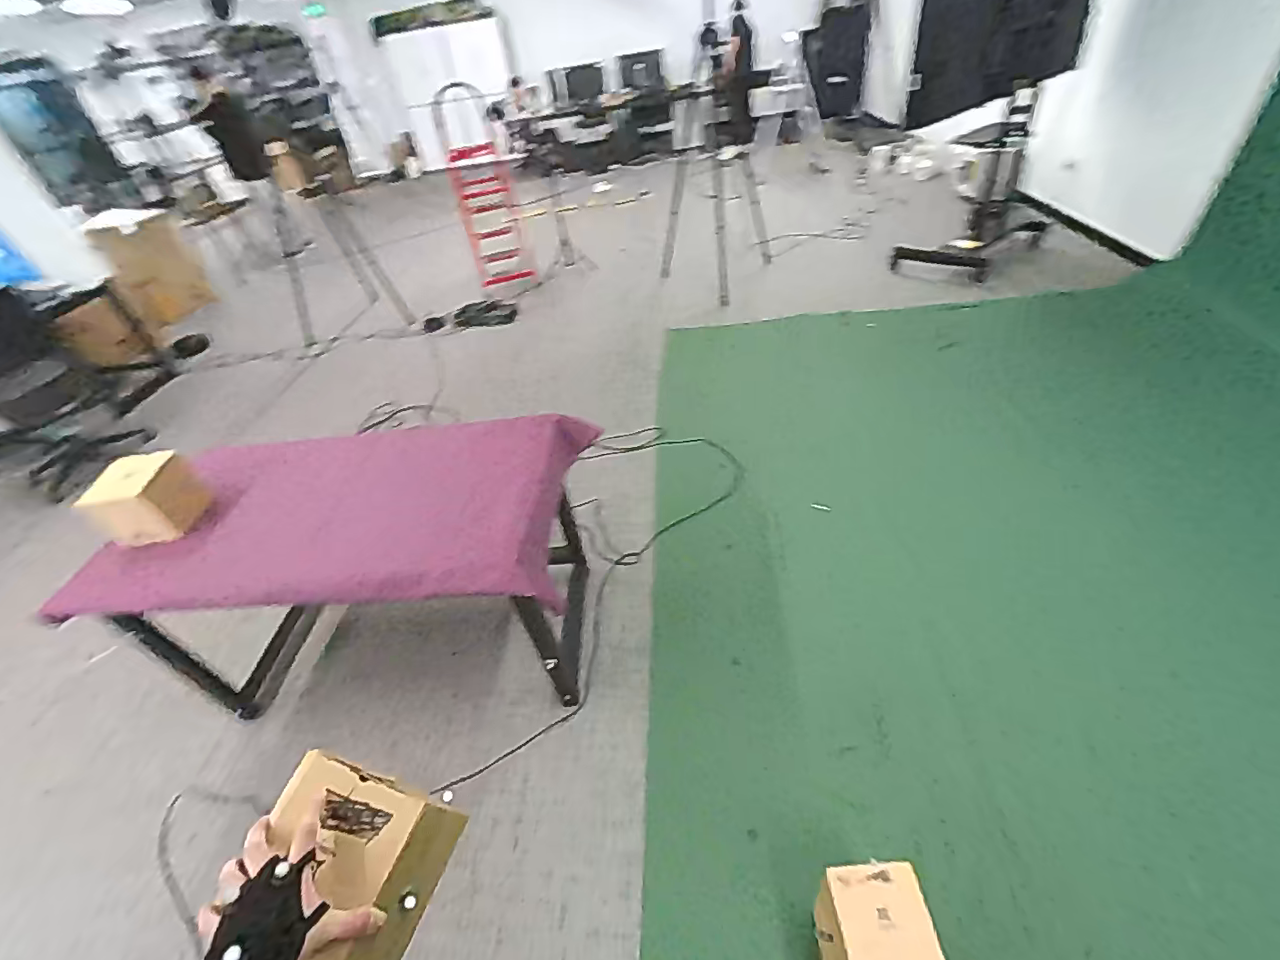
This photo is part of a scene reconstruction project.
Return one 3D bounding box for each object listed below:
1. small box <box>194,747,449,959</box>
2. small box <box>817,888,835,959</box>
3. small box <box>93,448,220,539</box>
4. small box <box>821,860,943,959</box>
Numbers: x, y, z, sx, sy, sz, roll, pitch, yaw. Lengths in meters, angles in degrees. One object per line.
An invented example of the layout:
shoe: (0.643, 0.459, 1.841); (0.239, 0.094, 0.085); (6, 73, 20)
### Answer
small box: (-0.357, 0.454, 0.652); (0.168, 0.176, 0.179); (15, 58, 14)
small box: (0.478, 0.986, 1.144); (0.179, 0.176, 0.168); (-4, 41, 6)
small box: (-1.322, 0.038, 1.499); (0.168, 0.176, 0.179); (-9, 41, 3)
small box: (0.458, 0.860, 1.041); (0.168, 0.176, 0.179); (-6, 41, 4)
